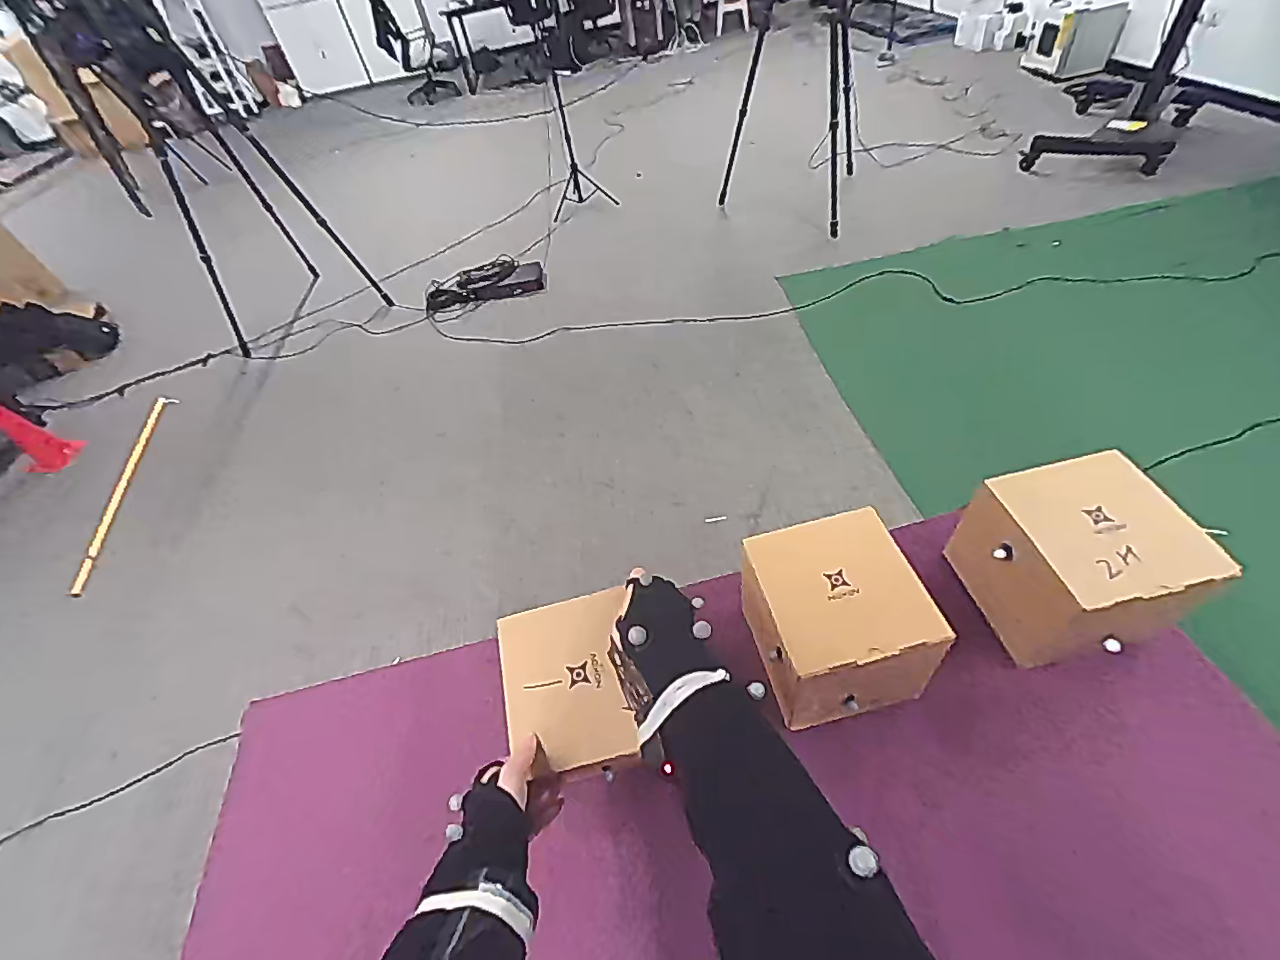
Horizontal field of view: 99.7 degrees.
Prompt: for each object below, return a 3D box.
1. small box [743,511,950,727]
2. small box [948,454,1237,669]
[{"bbox_3d":[0.227,0.169,0.652,0.168,0.176,0.179,-15,49,-1],"label":"small box"},{"bbox_3d":[0.508,0.100,0.648,0.168,0.176,0.179,-13,50,1],"label":"small box"}]
